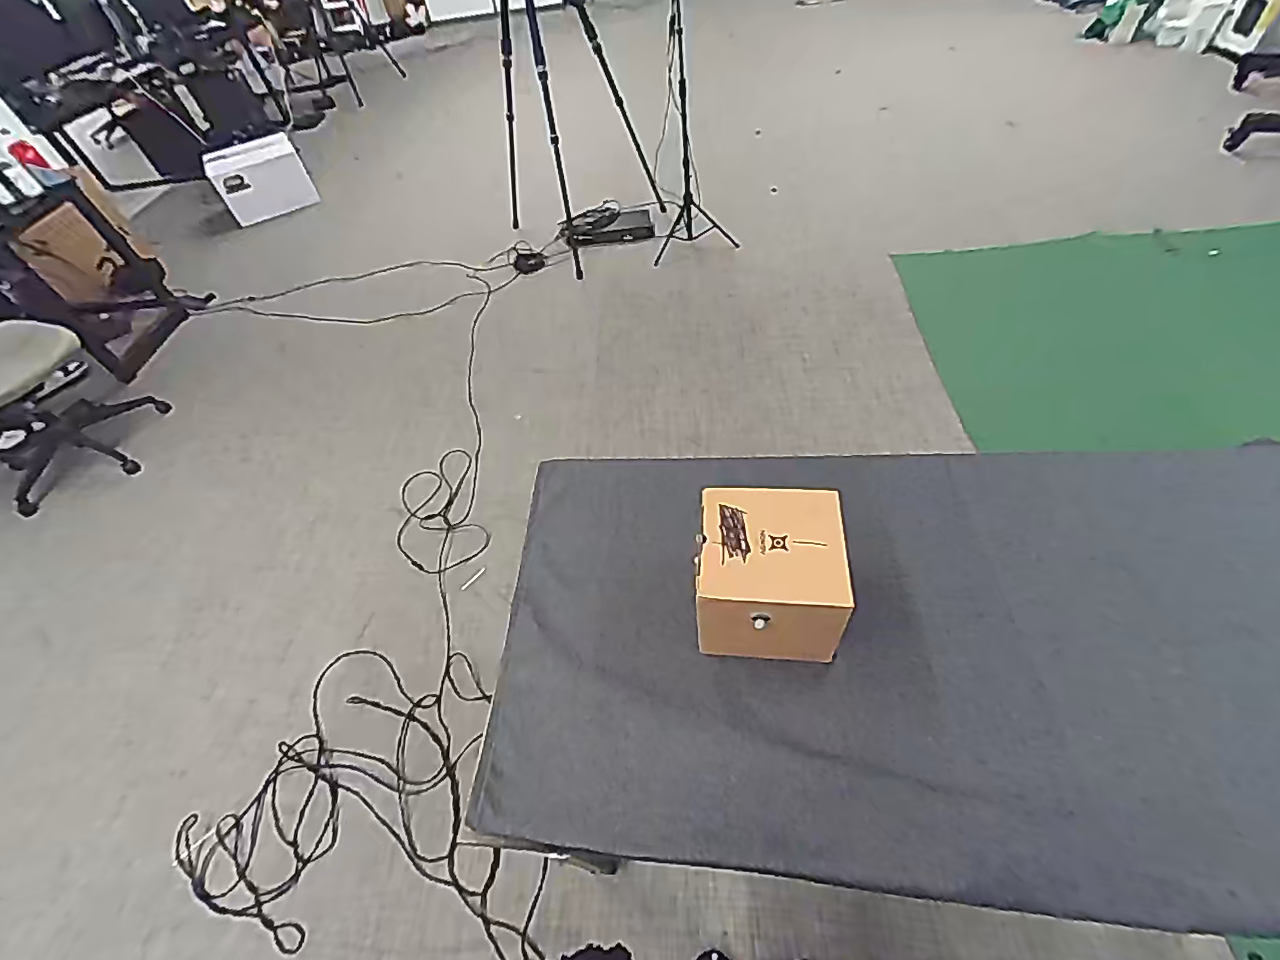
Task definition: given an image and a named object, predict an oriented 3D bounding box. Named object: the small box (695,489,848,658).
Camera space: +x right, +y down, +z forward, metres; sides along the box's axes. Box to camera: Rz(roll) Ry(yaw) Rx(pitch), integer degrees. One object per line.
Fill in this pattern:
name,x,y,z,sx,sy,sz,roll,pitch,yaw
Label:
small box,0.169,0.129,0.734,0.179,0.176,0.168,2,51,9
